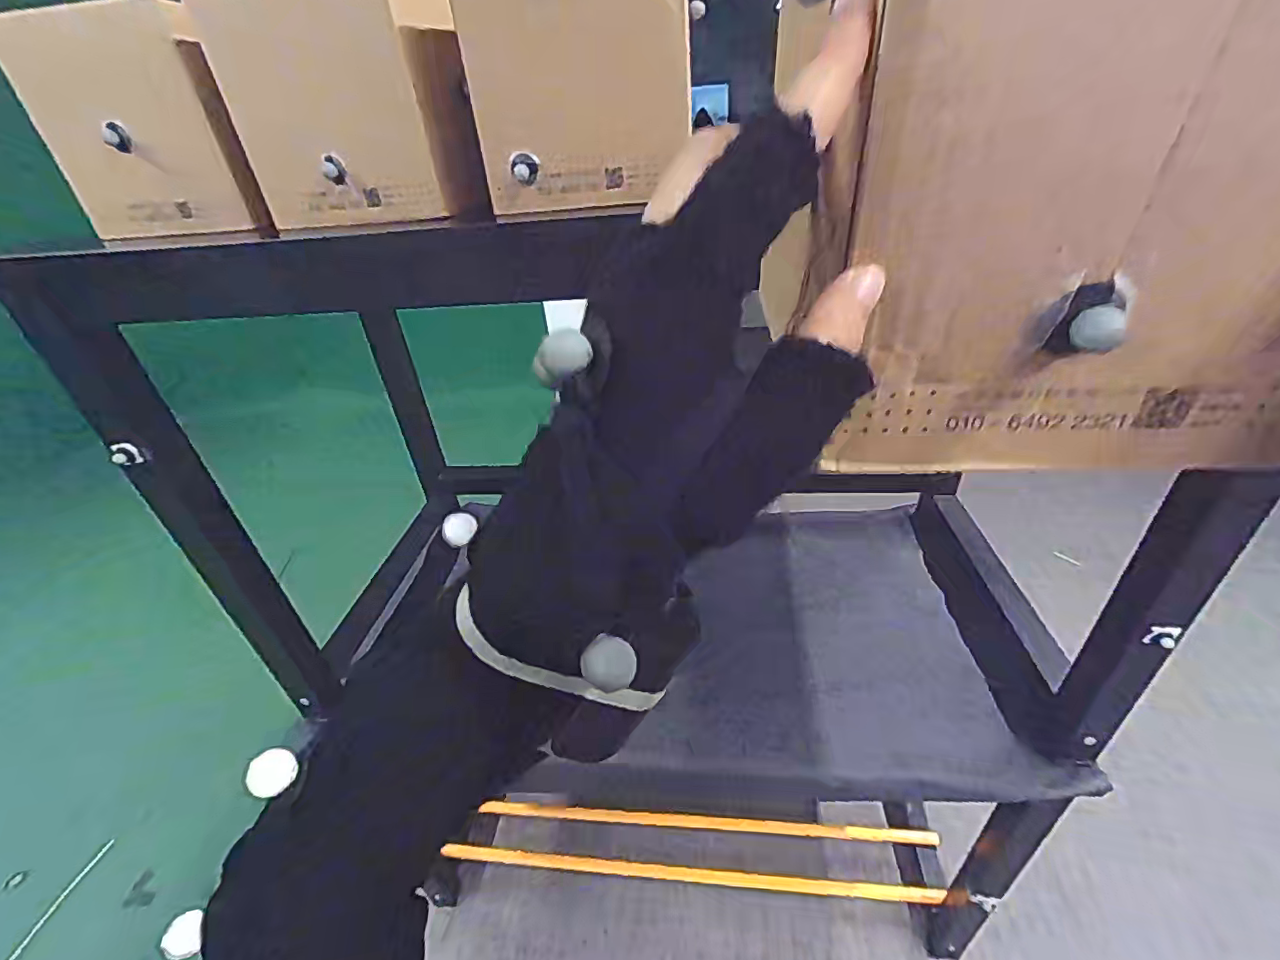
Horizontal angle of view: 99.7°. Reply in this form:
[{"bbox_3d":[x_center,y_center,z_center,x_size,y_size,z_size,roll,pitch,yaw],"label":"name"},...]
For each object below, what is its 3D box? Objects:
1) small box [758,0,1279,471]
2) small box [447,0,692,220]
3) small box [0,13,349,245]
[{"bbox_3d":[0.139,-0.121,0.205,0.168,0.176,0.179,-1,39,6],"label":"small box"},{"bbox_3d":[-0.041,-0.329,0.471,0.168,0.176,0.179,-2,32,6],"label":"small box"},{"bbox_3d":[-0.432,-0.338,0.543,0.168,0.176,0.179,1,33,7],"label":"small box"}]
